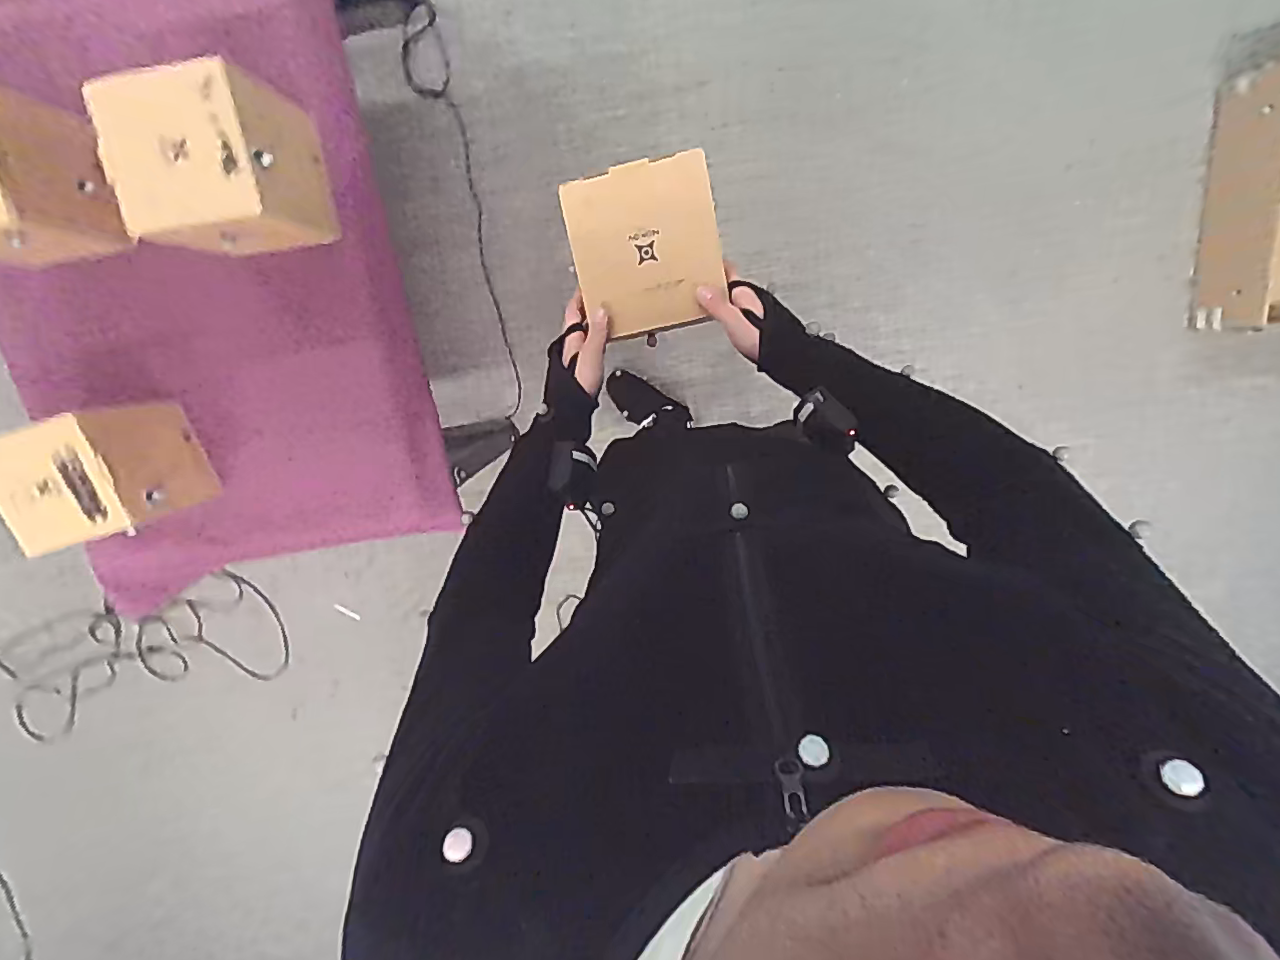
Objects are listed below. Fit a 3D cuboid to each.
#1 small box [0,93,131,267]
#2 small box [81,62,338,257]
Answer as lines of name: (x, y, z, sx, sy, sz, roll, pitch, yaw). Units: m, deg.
small box: (-0.854, -0.391, 0.717, 0.179, 0.176, 0.168, -9, 103, 2)
small box: (-0.541, -0.399, 0.707, 0.179, 0.176, 0.168, -7, 104, 5)
